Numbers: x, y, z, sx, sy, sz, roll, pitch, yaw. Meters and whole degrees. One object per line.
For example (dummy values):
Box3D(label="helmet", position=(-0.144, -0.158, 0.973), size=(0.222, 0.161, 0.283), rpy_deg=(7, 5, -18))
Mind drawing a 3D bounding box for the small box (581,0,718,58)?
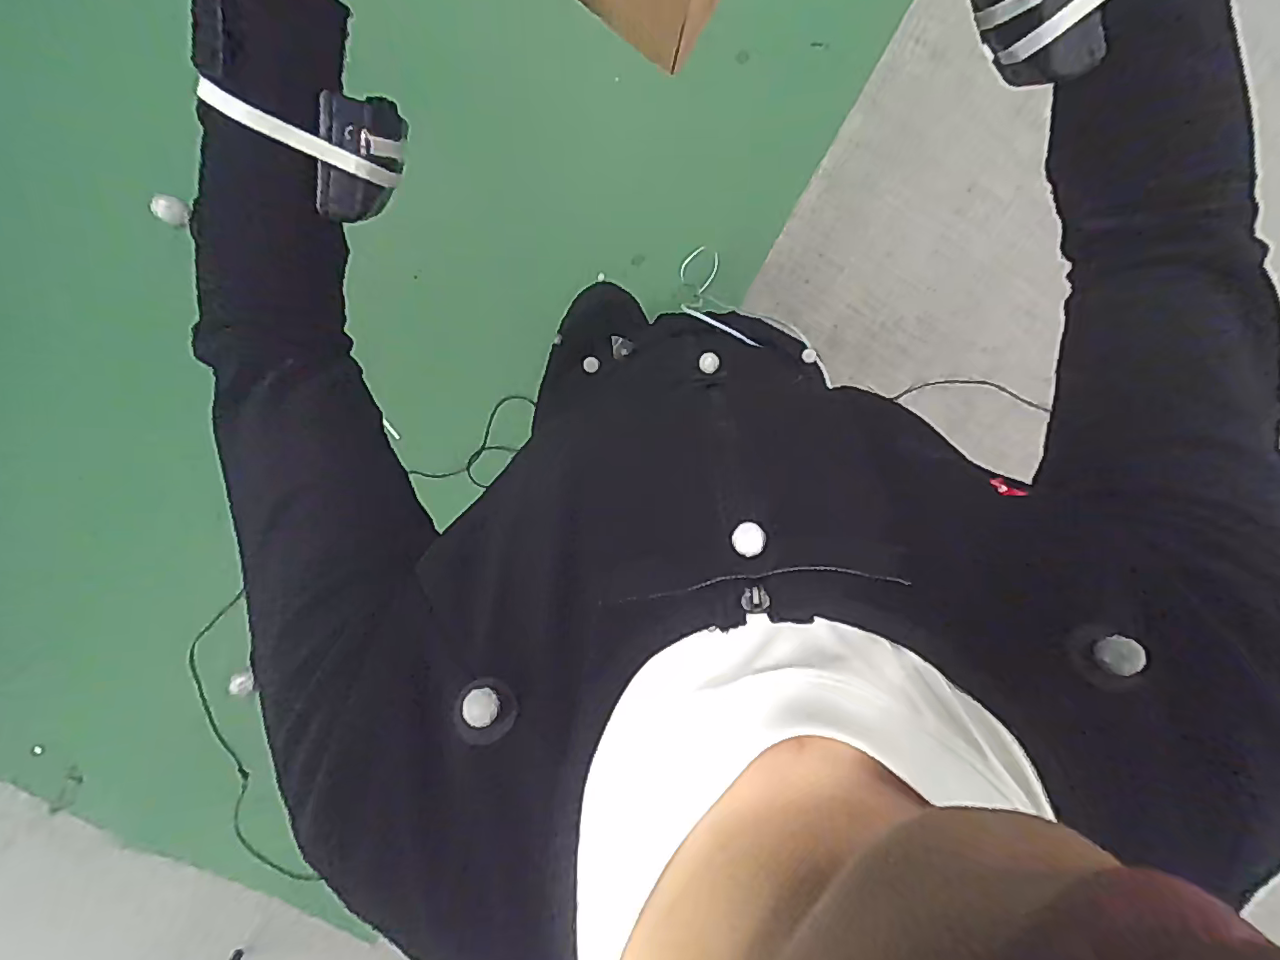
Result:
Box3D(label="small box", position=(0.001, -0.378, 0.280), size=(0.179, 0.176, 0.168), rpy_deg=(33, 102, -12))
